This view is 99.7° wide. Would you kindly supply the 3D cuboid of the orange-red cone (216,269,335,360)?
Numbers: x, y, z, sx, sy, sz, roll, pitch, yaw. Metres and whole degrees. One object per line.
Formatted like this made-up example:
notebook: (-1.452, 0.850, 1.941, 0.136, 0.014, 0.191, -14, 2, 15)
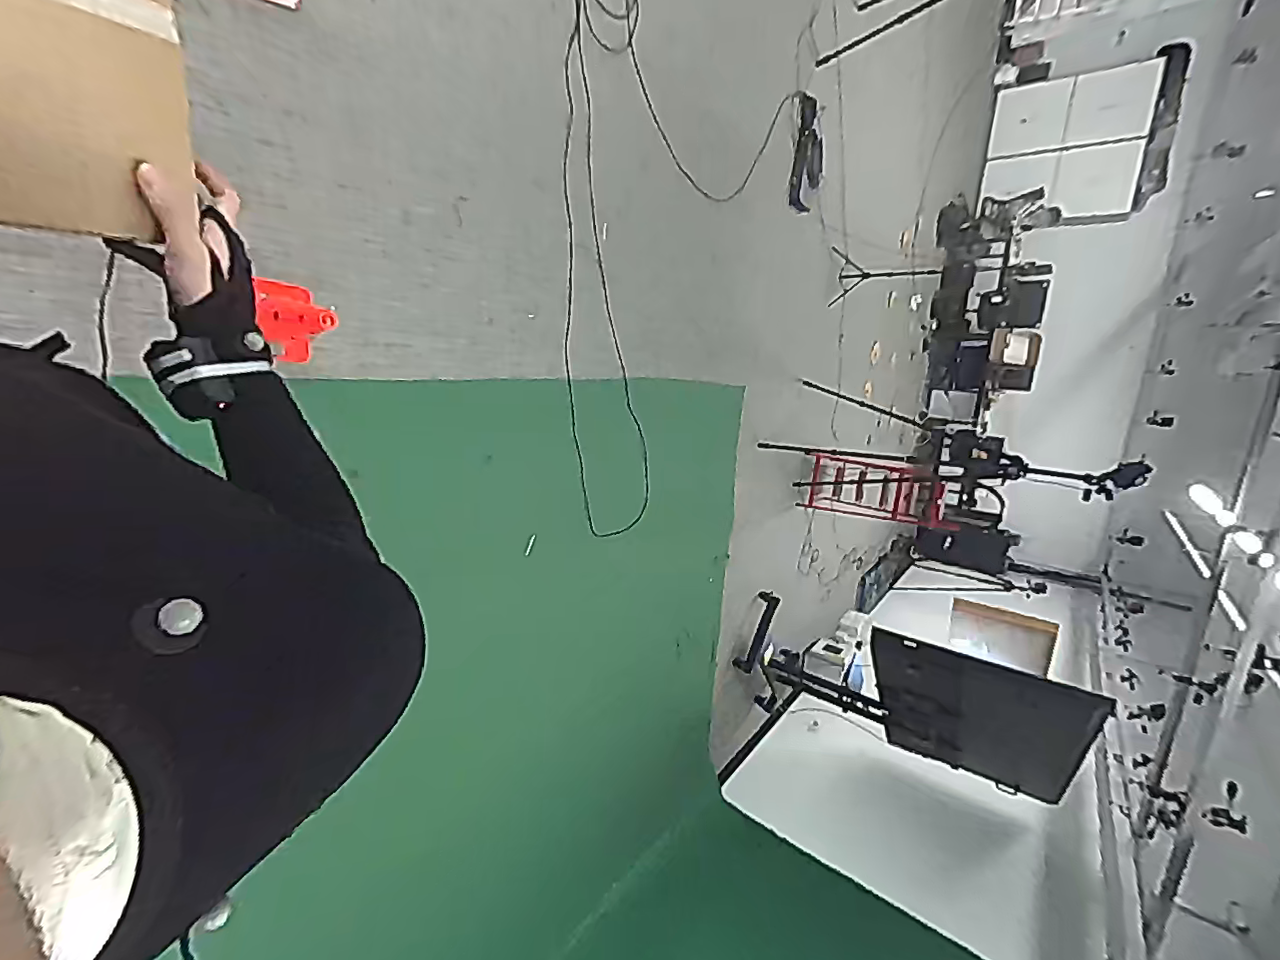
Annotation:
orange-red cone: (-0.825, -0.386, 1.289, 0.199, 0.360, 0.198, -2, 103, -54)
